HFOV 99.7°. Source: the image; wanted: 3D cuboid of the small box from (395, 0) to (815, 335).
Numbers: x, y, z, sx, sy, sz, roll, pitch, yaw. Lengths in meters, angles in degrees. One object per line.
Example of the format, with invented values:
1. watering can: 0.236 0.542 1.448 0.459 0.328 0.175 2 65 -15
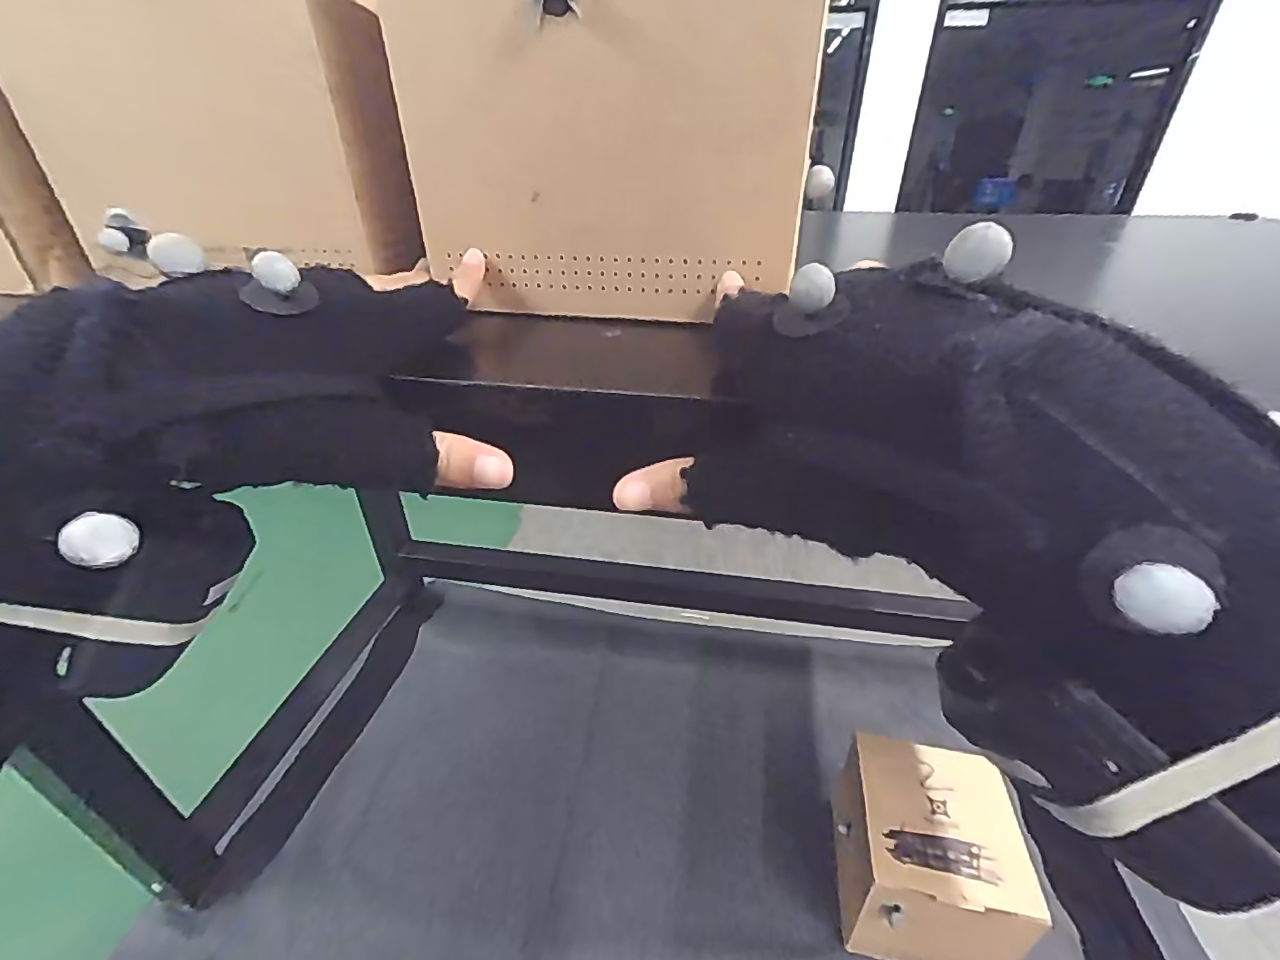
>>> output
1. small box: -0.006 -0.183 0.290 0.179 0.176 0.168 7 33 11
